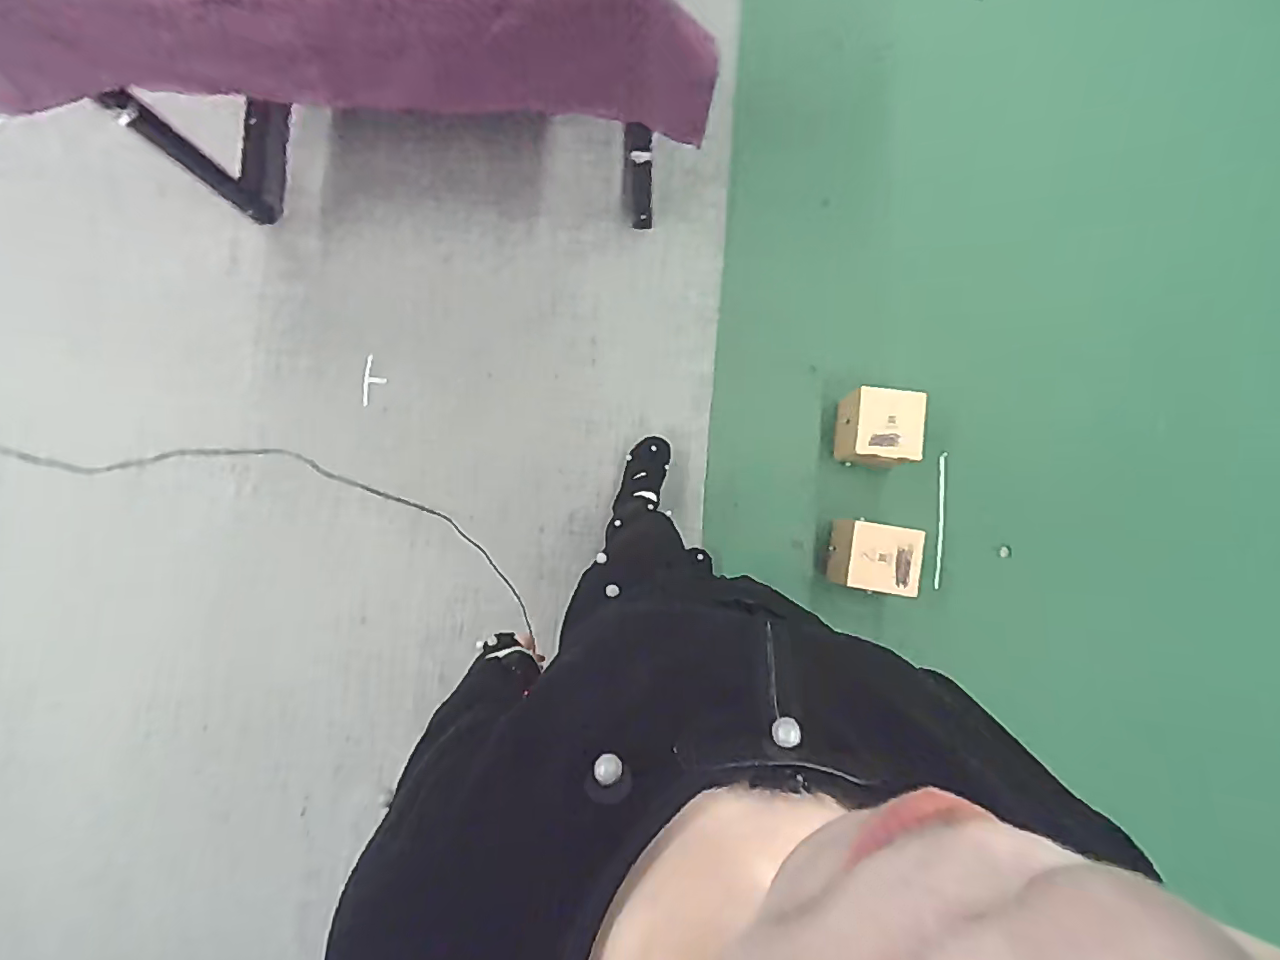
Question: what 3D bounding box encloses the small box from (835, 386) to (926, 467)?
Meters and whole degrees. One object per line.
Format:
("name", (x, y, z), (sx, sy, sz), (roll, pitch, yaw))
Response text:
("small box", (0.627, -0.135, 1.429), (0.168, 0.176, 0.179), (7, 84, 2))
